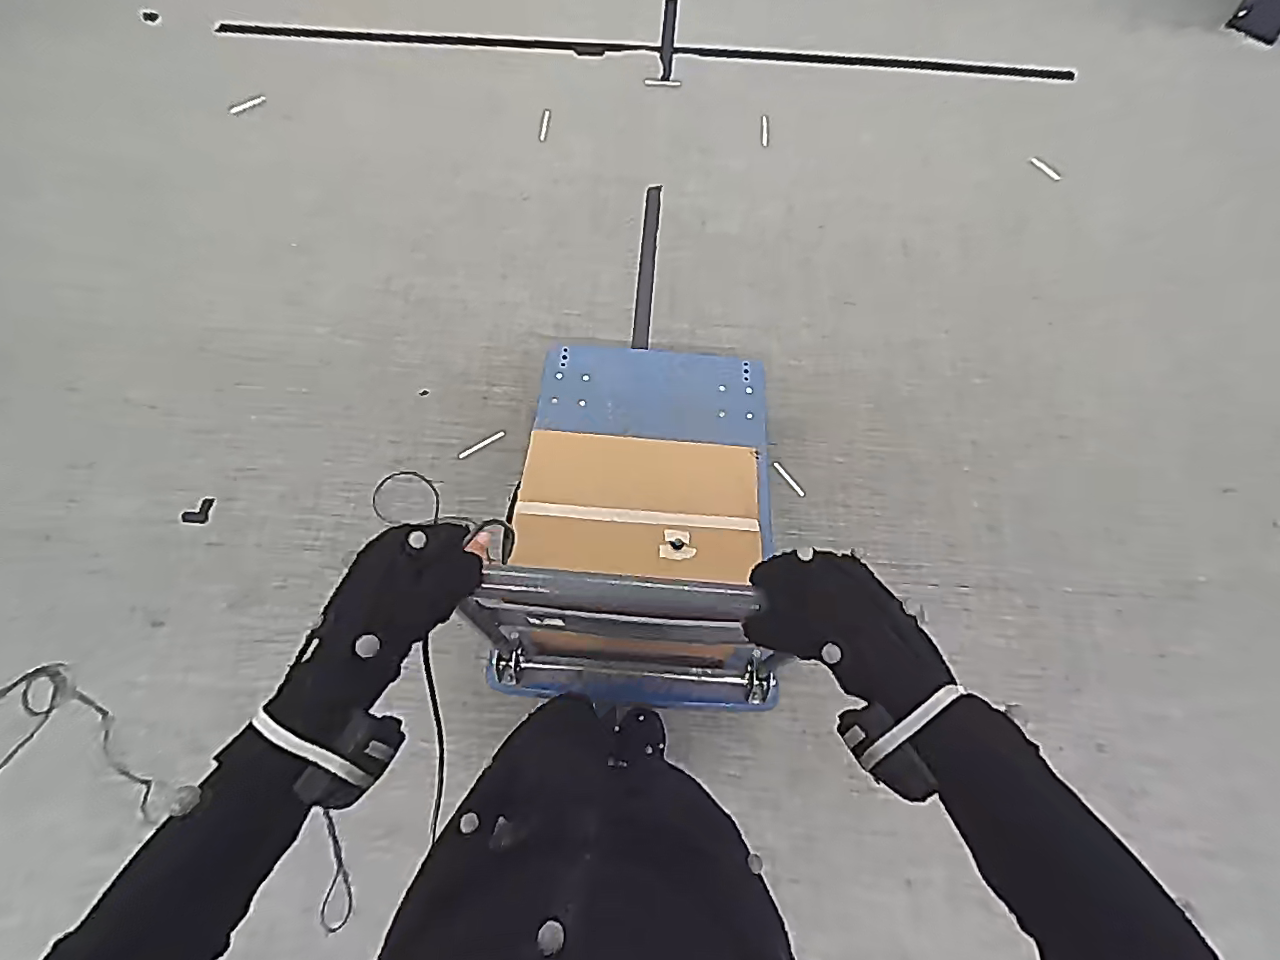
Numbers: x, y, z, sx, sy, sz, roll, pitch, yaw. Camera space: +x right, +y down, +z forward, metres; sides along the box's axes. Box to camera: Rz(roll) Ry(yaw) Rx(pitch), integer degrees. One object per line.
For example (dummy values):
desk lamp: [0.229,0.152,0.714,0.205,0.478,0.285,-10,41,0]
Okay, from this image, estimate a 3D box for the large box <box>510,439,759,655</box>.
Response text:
large box: [-0.010,0.143,1.048,0.408,0.320,0.320,5,62,-1]
